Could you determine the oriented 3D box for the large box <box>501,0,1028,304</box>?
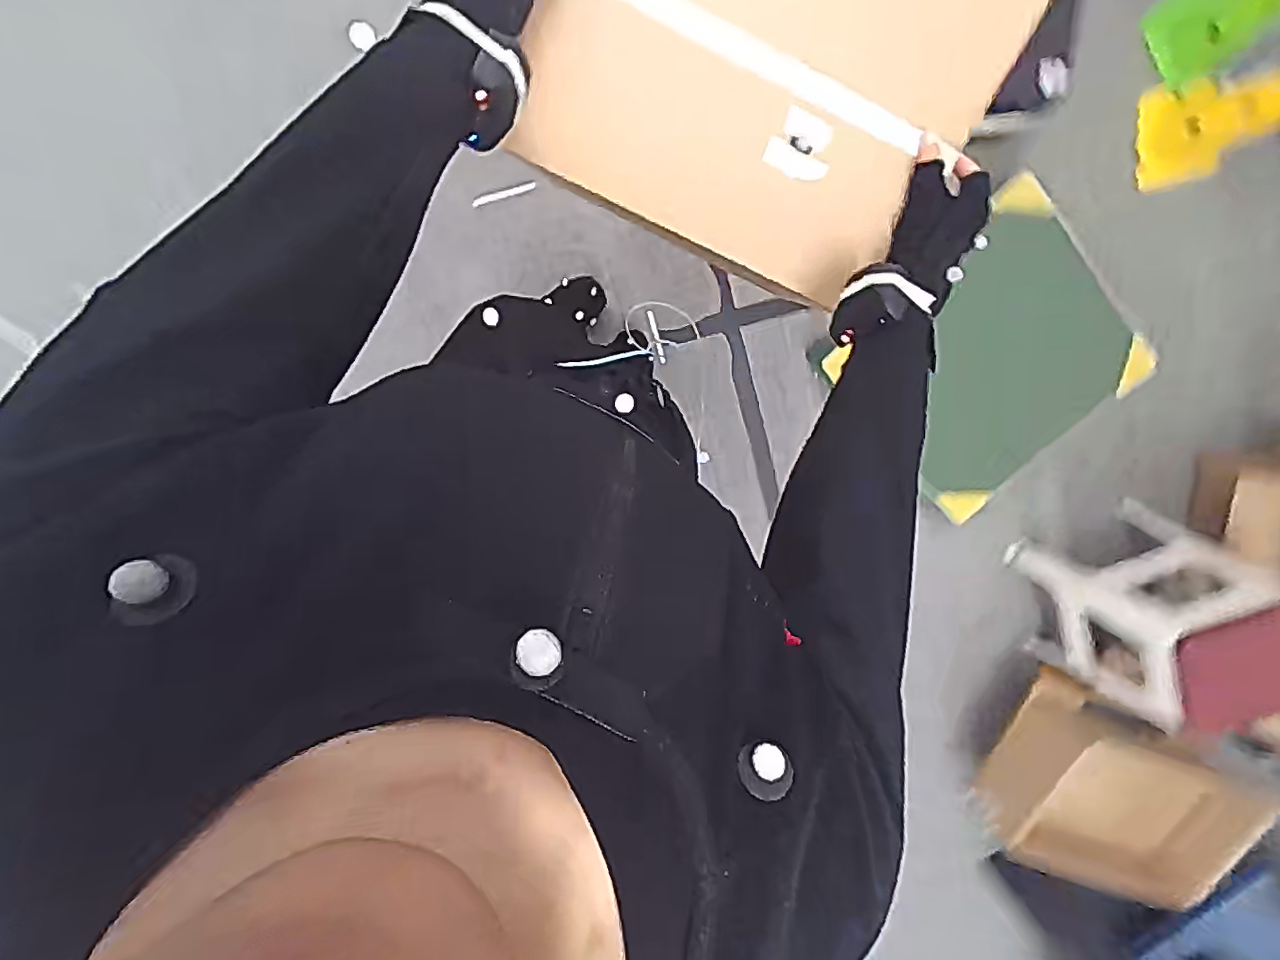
[{"bbox_3d":[0.106,-0.439,0.620,0.408,0.320,0.320,22,113,-8],"label":"large box"}]
